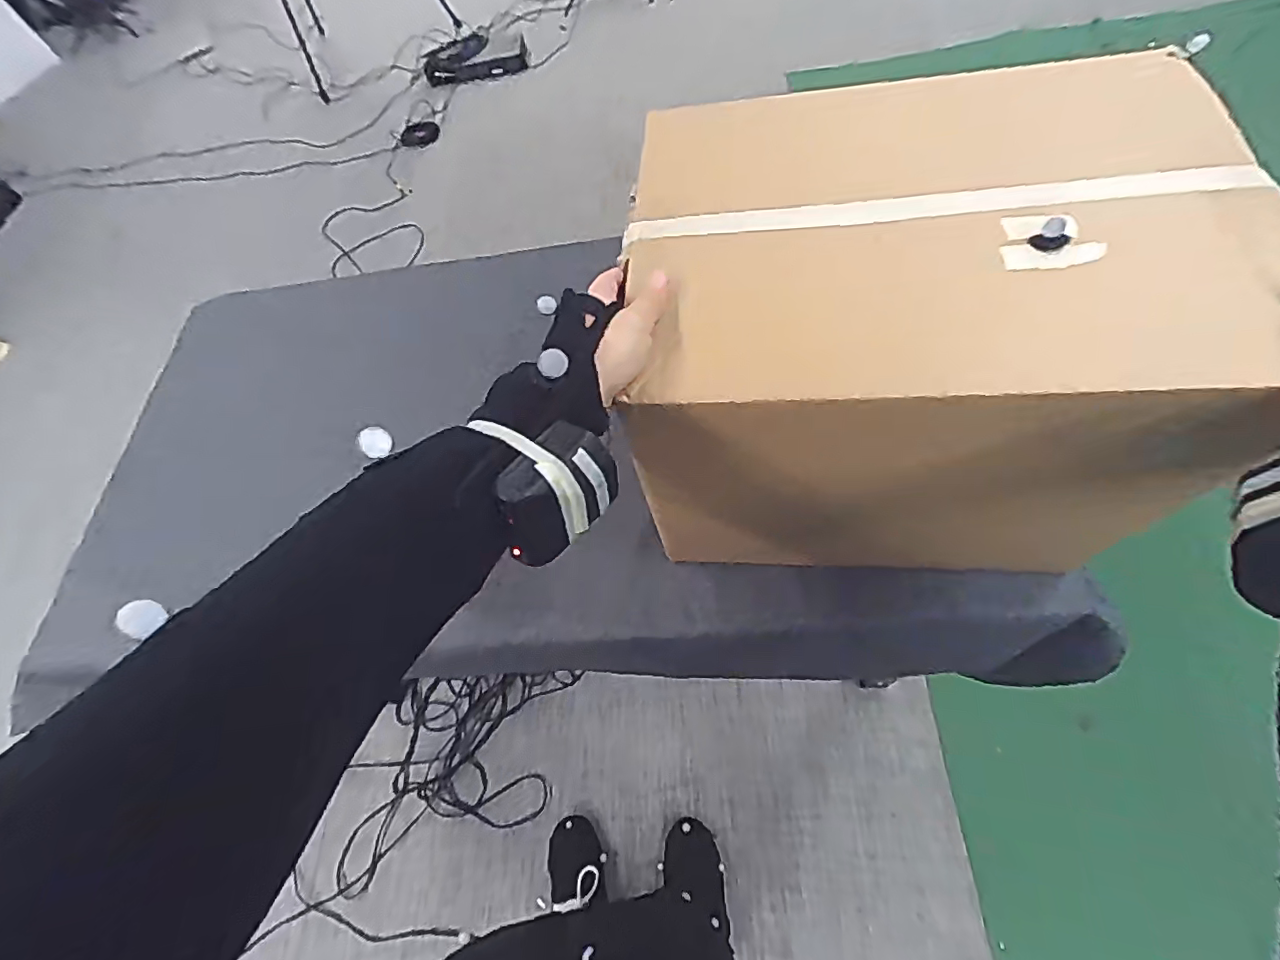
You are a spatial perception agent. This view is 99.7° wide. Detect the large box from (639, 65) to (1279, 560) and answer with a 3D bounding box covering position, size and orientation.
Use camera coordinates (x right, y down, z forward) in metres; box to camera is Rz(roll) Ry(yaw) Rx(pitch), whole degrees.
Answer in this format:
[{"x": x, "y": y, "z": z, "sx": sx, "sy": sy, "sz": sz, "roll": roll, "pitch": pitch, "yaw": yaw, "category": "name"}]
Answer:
[{"x": 0.221, "y": -0.118, "z": 0.511, "sx": 0.408, "sy": 0.320, "sz": 0.320, "roll": 0, "pitch": 64, "yaw": 9, "category": "large box"}]
